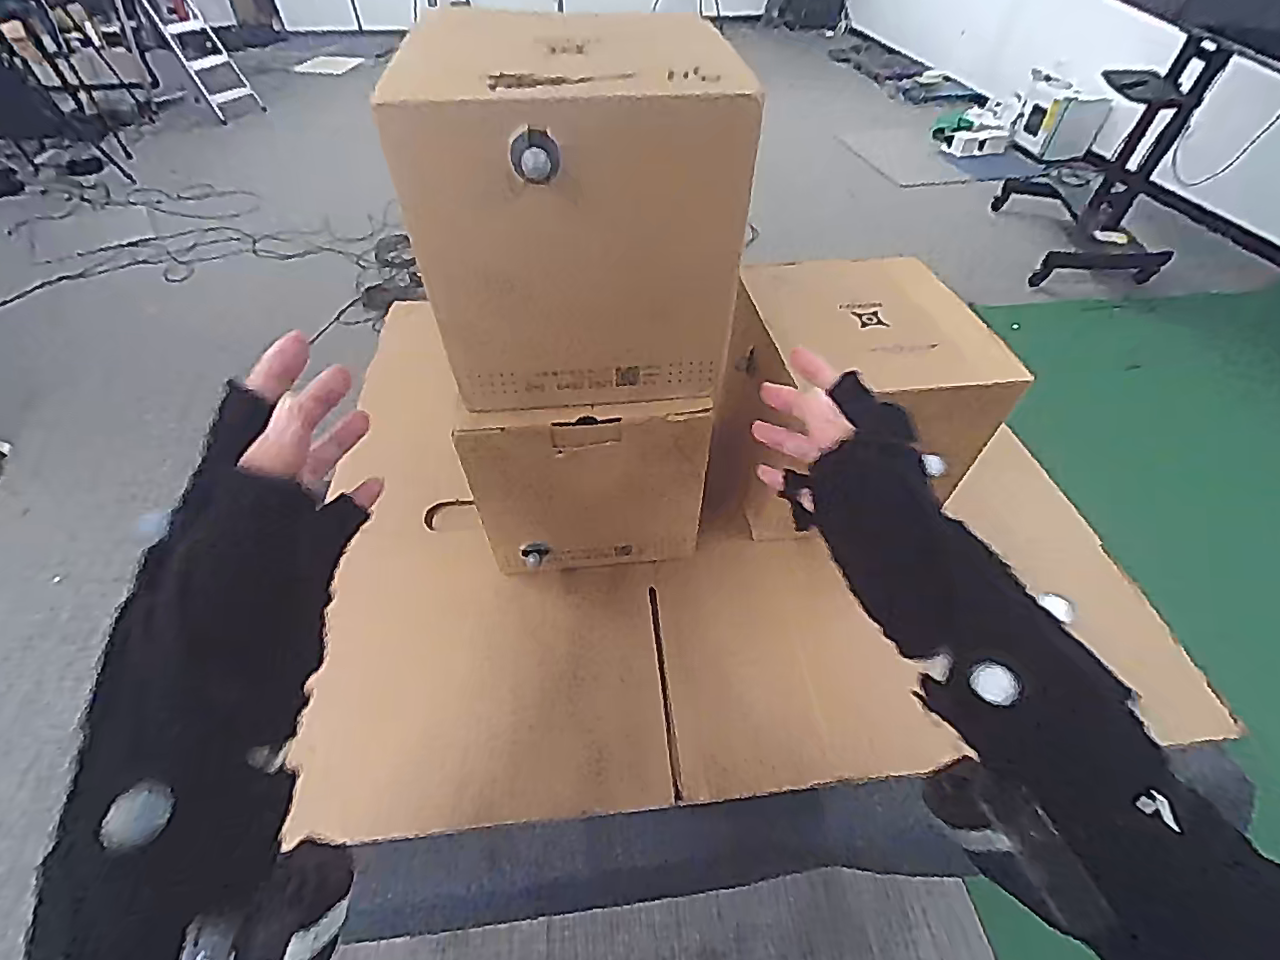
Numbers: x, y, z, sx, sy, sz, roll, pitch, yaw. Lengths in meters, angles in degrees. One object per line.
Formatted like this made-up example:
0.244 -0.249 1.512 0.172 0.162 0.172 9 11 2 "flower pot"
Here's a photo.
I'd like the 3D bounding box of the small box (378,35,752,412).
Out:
-0.039 -0.163 0.349 0.168 0.176 0.179 -4 48 -4 "small box"
